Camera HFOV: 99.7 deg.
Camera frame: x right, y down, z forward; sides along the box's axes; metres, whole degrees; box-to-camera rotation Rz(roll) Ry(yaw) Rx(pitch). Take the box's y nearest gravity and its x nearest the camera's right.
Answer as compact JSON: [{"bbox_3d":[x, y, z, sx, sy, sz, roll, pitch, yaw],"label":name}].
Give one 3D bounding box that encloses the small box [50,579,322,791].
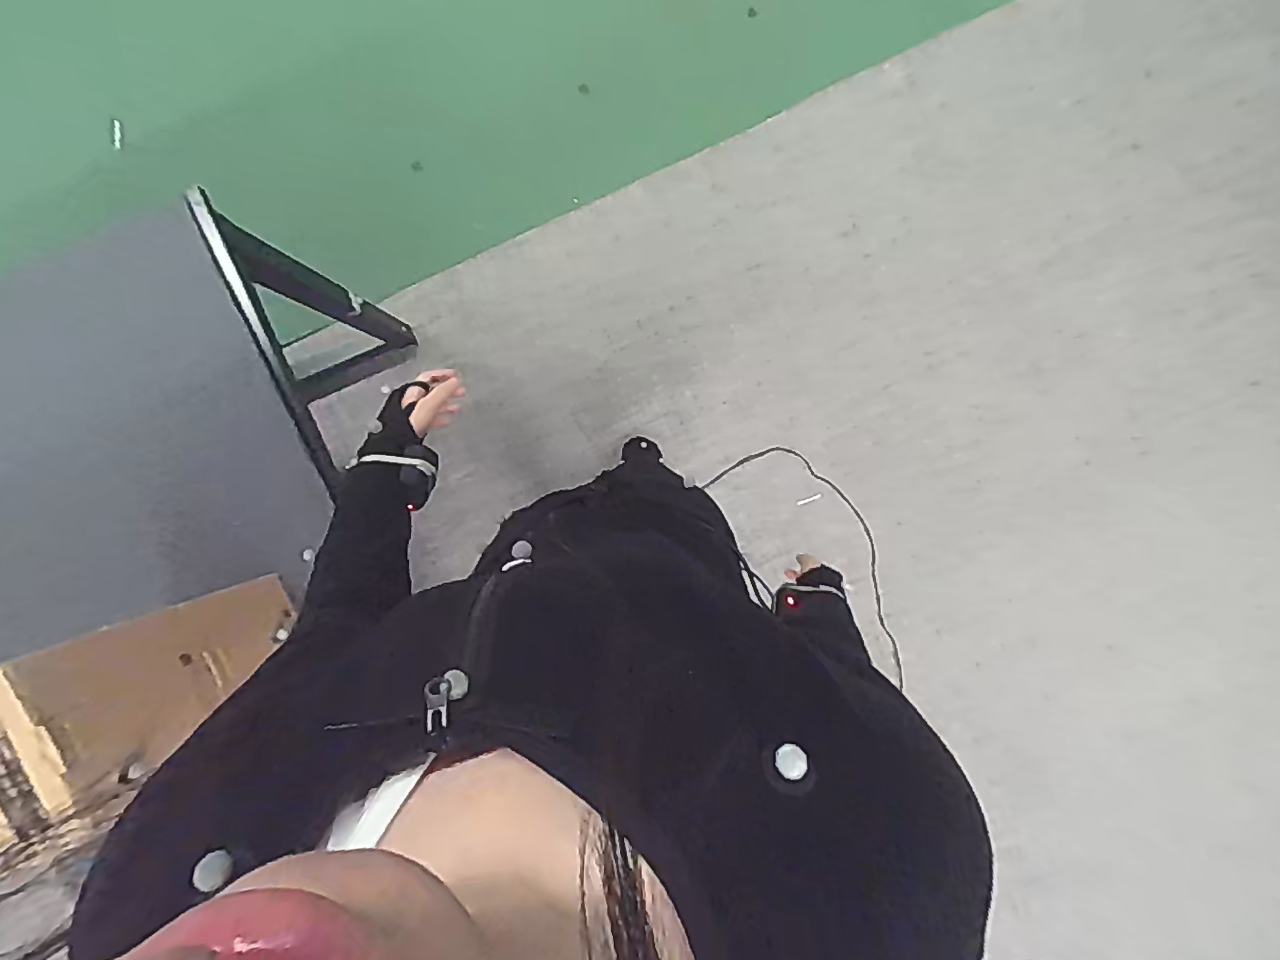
[{"bbox_3d":[-0.564,0.249,0.698,0.179,0.176,0.168,-25,93,1],"label":"small box"}]
